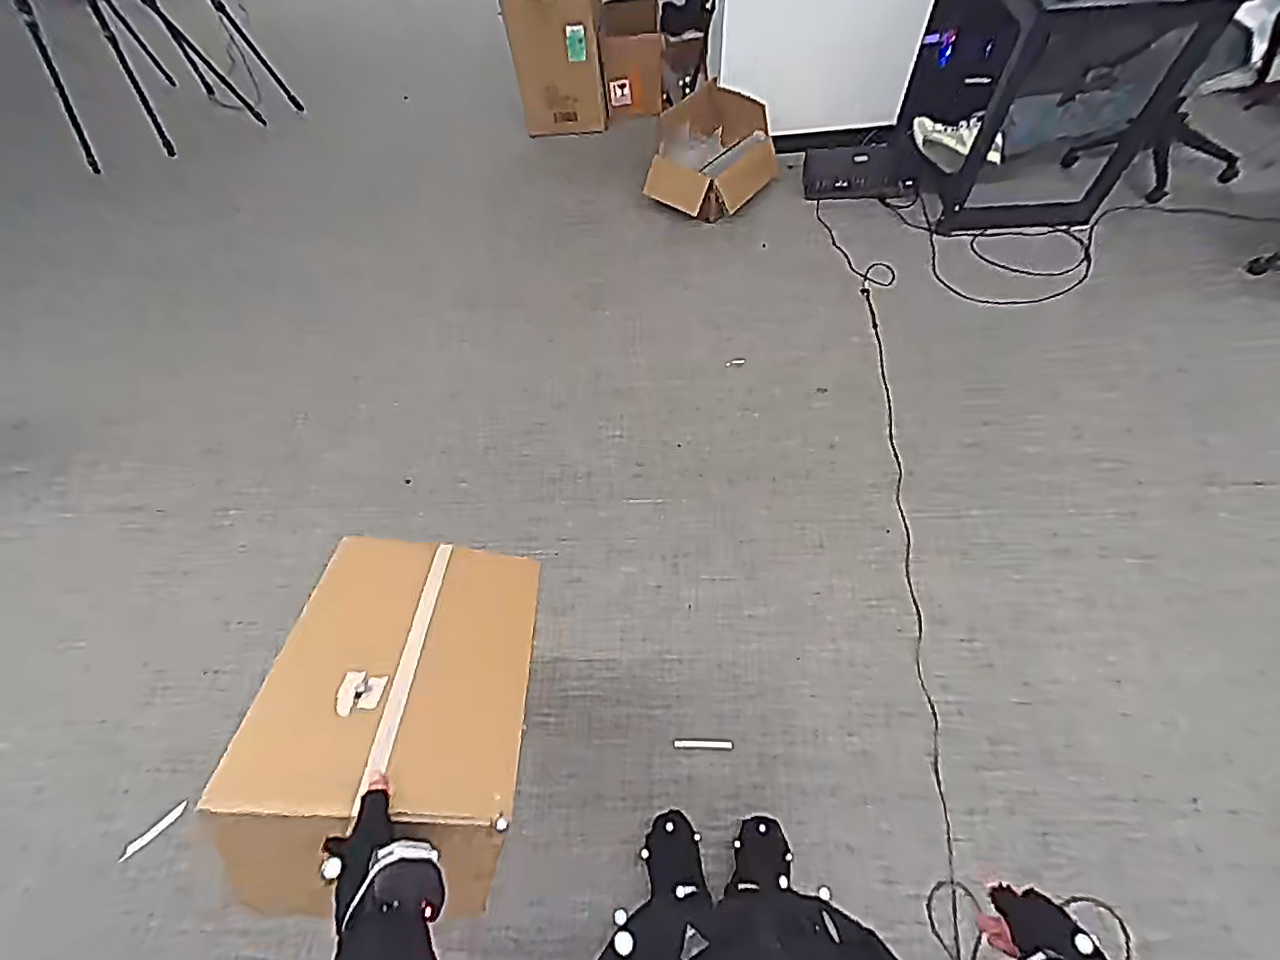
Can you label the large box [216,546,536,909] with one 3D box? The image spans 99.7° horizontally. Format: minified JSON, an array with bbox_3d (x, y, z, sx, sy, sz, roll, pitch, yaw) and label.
[{"bbox_3d":[-0.350,0.365,0.826,0.320,0.320,0.408,10,36,-13],"label":"large box"}]
